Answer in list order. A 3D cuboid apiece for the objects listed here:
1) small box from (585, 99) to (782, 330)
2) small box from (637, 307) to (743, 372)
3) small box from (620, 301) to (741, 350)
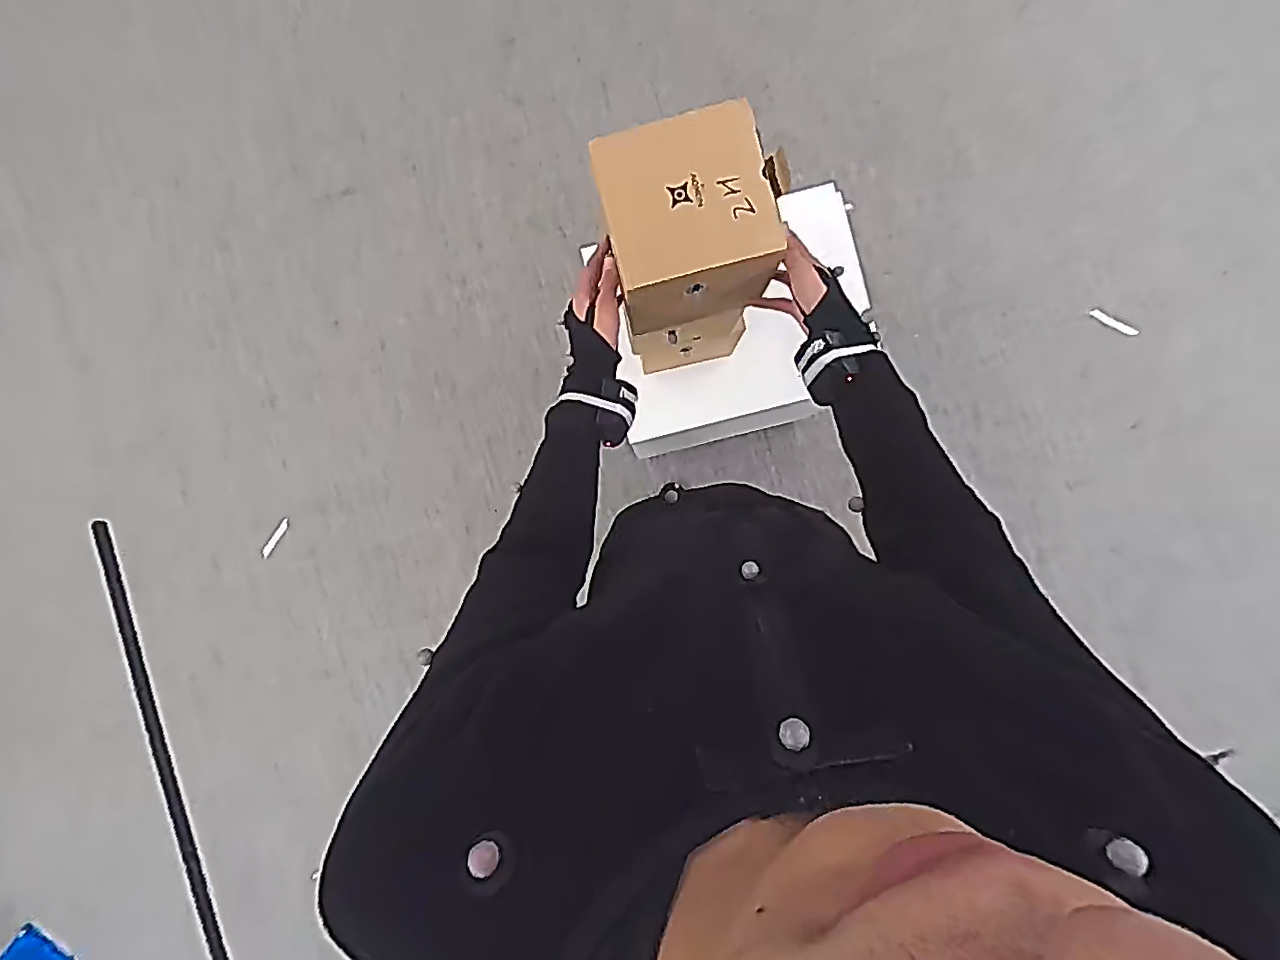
[{"bbox_3d":[0.047,-0.293,0.637,0.179,0.176,0.168,-14,89,1],"label":"small box"},{"bbox_3d":[0.069,-0.303,0.965,0.179,0.176,0.168,-13,89,0],"label":"small box"},{"bbox_3d":[0.048,-0.303,0.803,0.168,0.176,0.179,-11,88,1],"label":"small box"}]
